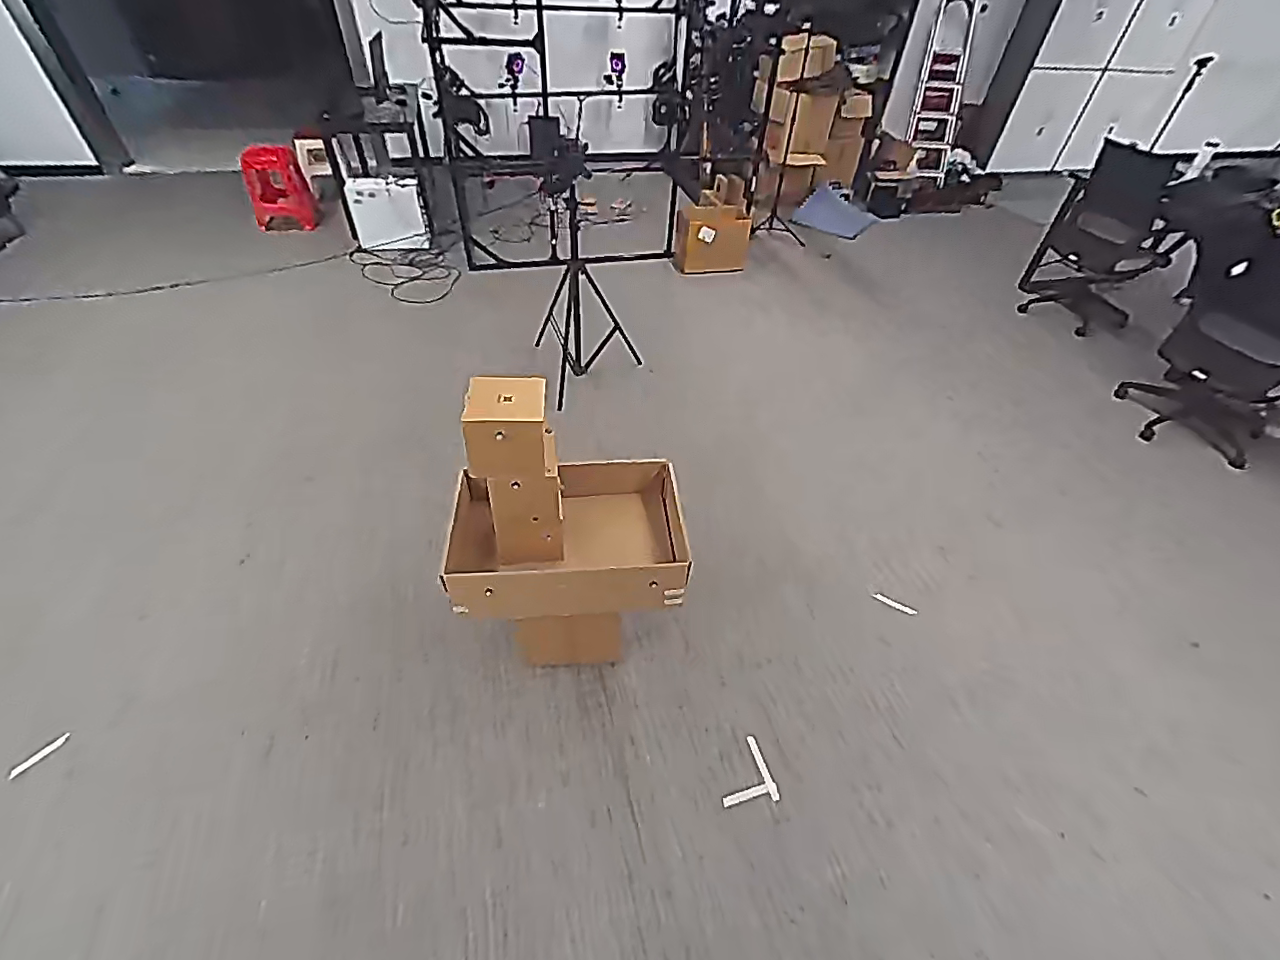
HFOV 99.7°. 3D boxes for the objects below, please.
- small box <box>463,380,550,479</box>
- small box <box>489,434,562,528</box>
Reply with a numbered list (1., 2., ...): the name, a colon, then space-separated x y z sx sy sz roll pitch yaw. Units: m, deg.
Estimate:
1. small box: -0.301 -0.114 1.259 0.179 0.176 0.168 -1 44 -7
2. small box: -0.287 0.002 1.374 0.168 0.176 0.179 -3 44 -9
